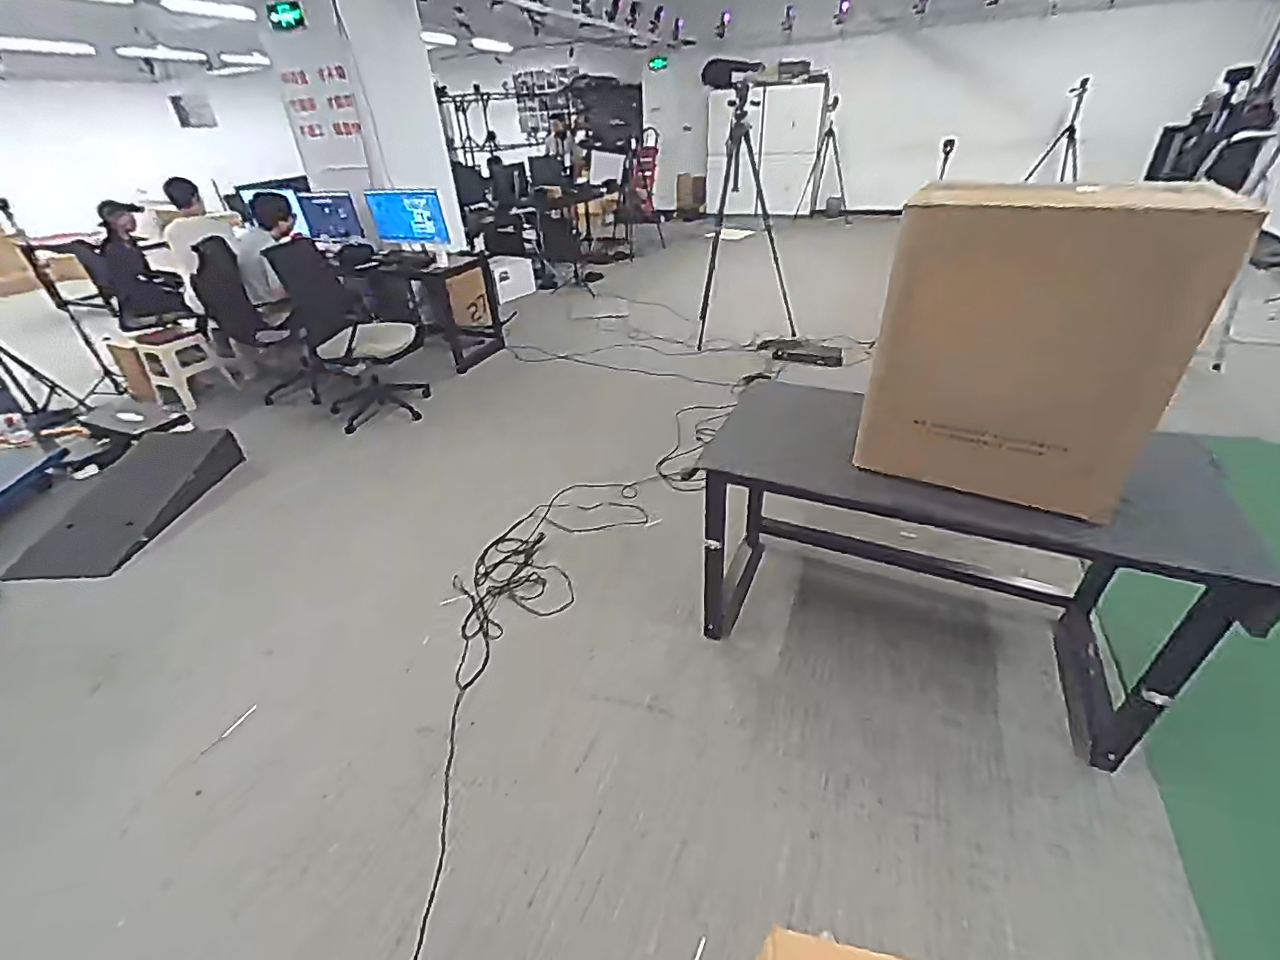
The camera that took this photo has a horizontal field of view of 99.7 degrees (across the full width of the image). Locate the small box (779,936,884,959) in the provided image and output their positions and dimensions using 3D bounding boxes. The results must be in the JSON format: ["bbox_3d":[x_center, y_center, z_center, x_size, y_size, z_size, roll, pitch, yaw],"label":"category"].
[{"bbox_3d":[0.146,0.383,0.279,0.179,0.176,0.168,7,35,9],"label":"small box"}]
